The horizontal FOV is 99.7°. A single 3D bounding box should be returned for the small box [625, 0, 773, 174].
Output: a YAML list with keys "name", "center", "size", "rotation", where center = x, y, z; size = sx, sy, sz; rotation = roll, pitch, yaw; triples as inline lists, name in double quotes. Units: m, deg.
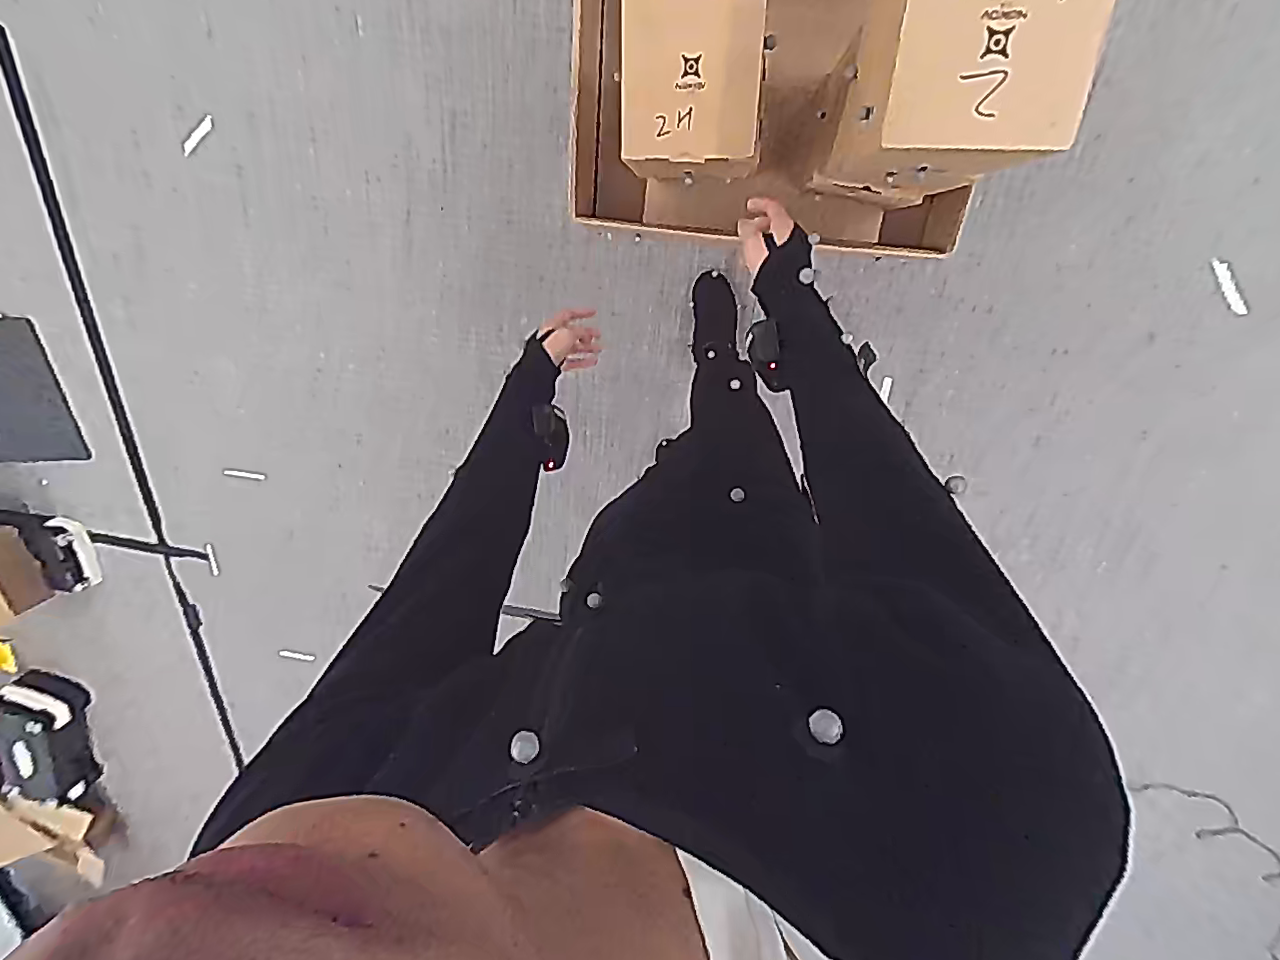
- name: "small box"
  center: [0.073, -0.509, 0.703]
  size: [0.168, 0.176, 0.179]
  rotation: [4, 115, 6]

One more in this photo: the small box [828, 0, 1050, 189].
- name: "small box"
  center: [0.347, -0.478, 0.672]
  size: [0.168, 0.176, 0.179]
  rotation: [11, 114, 4]
